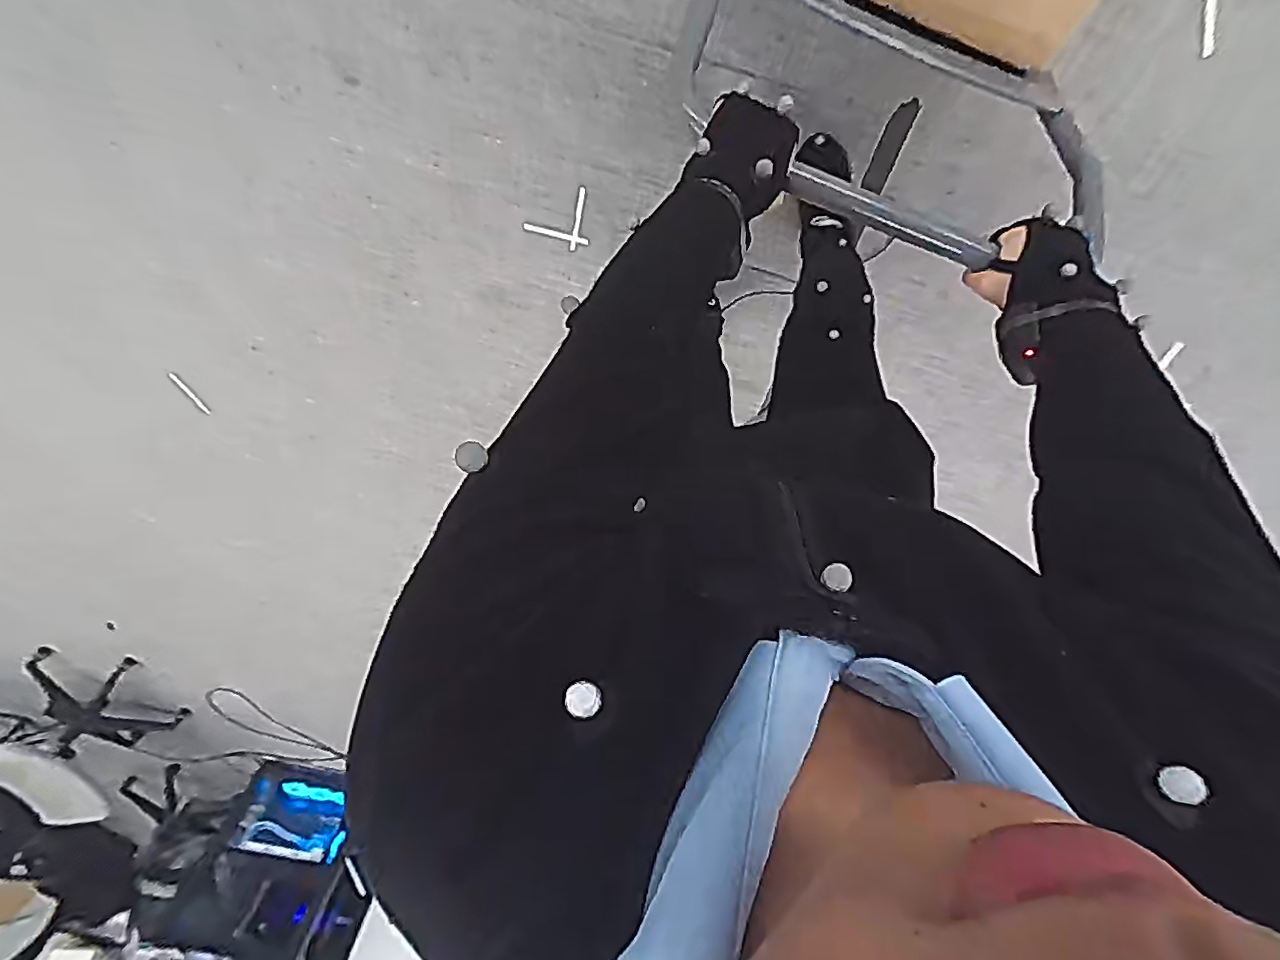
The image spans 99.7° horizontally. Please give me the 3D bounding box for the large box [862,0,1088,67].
[{"bbox_3d":[0.414,-0.814,0.684,0.408,0.320,0.320,16,143,-7],"label":"large box"}]
